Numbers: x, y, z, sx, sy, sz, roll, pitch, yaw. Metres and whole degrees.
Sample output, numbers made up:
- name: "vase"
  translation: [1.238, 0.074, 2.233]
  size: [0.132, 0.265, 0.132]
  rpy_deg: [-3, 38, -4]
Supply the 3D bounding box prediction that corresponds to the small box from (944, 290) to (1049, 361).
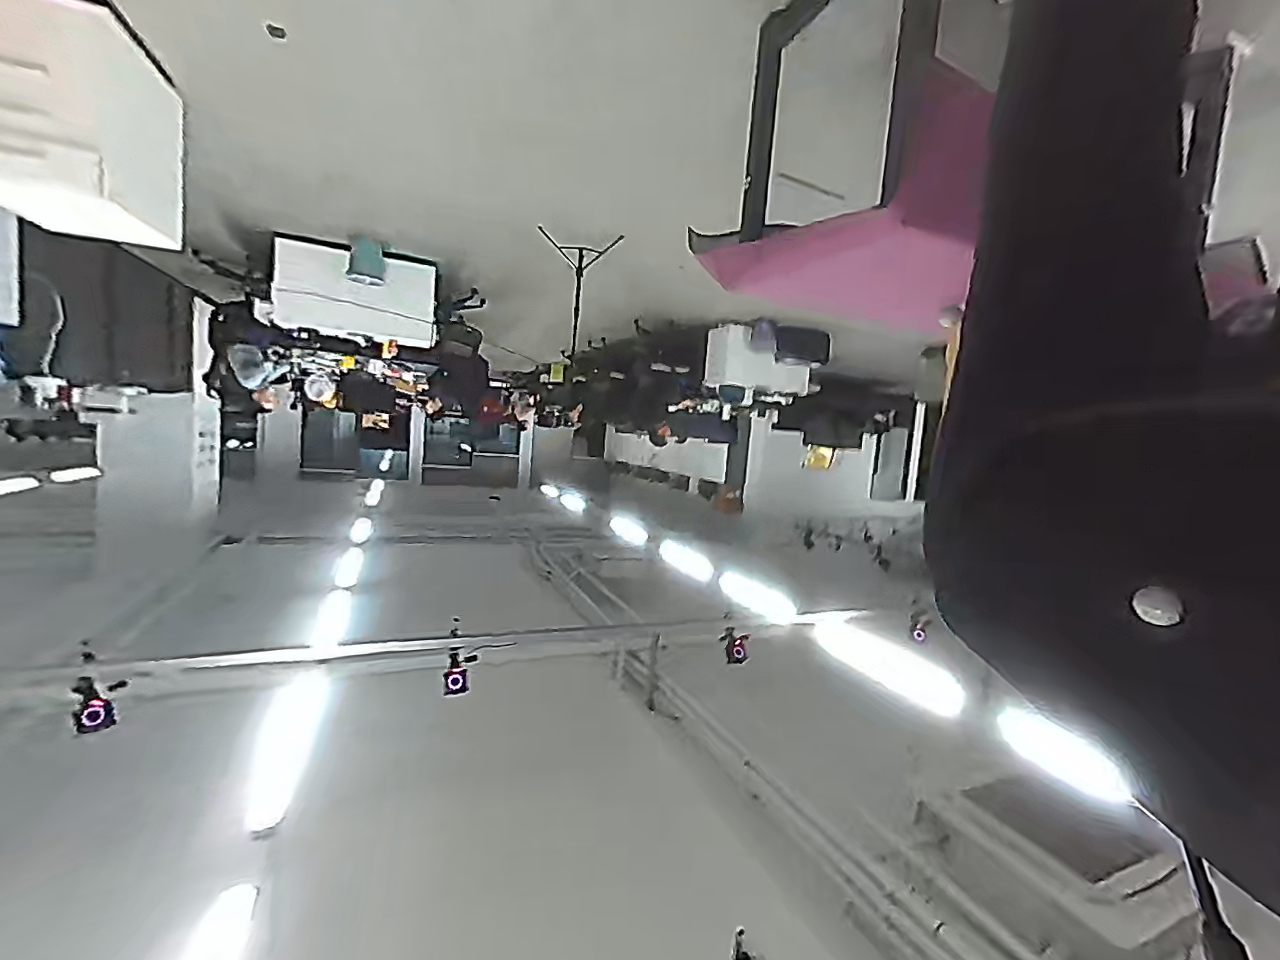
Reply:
- name: "small box"
  translation: [0.984, -0.417, 1.493]
  size: [0.179, 0.176, 0.168]
  rpy_deg: [4, -175, -14]
